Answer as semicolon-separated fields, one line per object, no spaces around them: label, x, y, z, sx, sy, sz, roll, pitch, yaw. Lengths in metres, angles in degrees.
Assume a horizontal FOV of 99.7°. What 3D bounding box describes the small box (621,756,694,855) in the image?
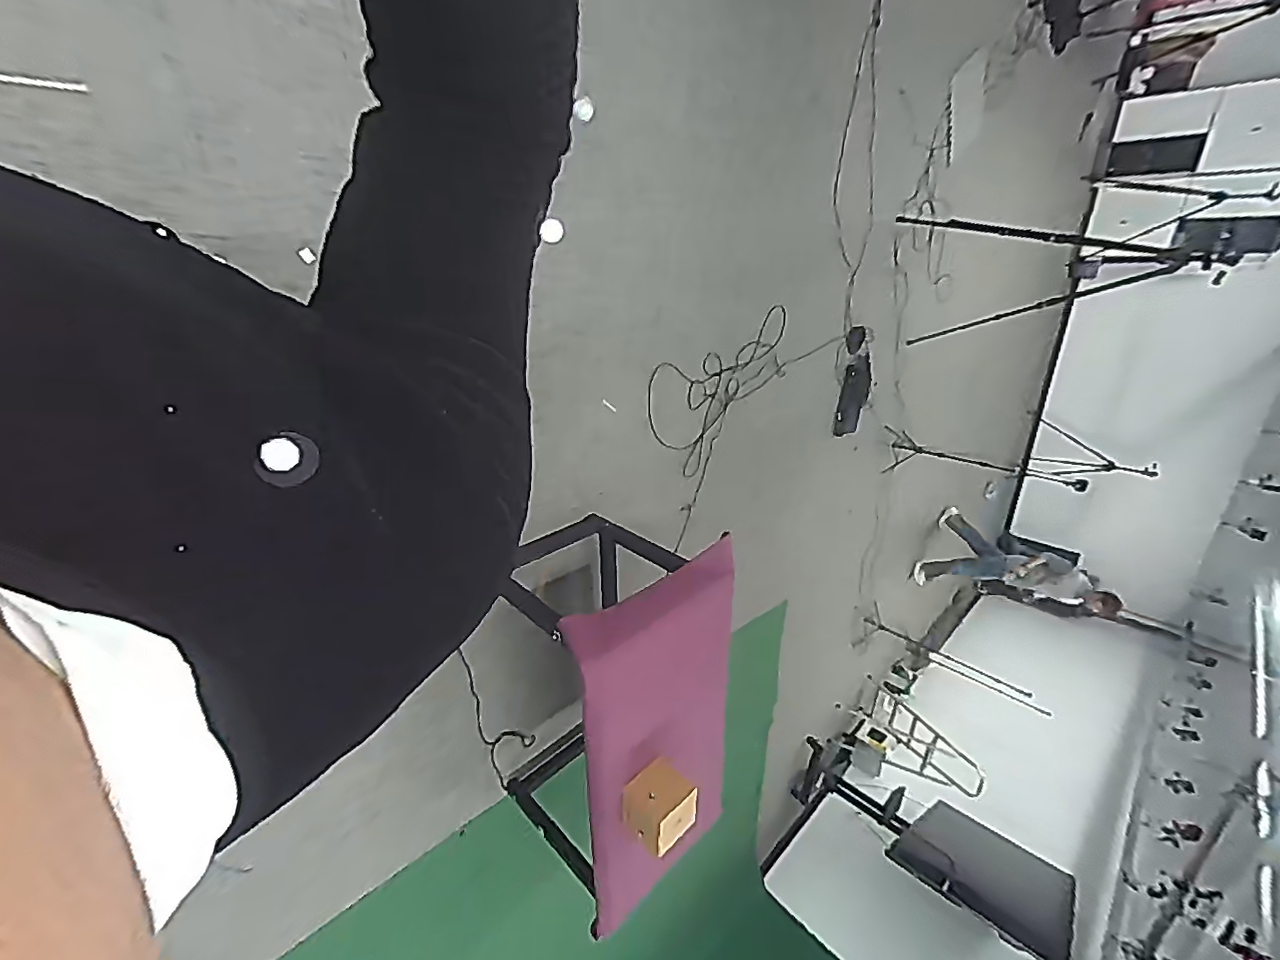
small box;0.054;1.045;1.748;0.179;0.176;0.168;-19;120;-42
